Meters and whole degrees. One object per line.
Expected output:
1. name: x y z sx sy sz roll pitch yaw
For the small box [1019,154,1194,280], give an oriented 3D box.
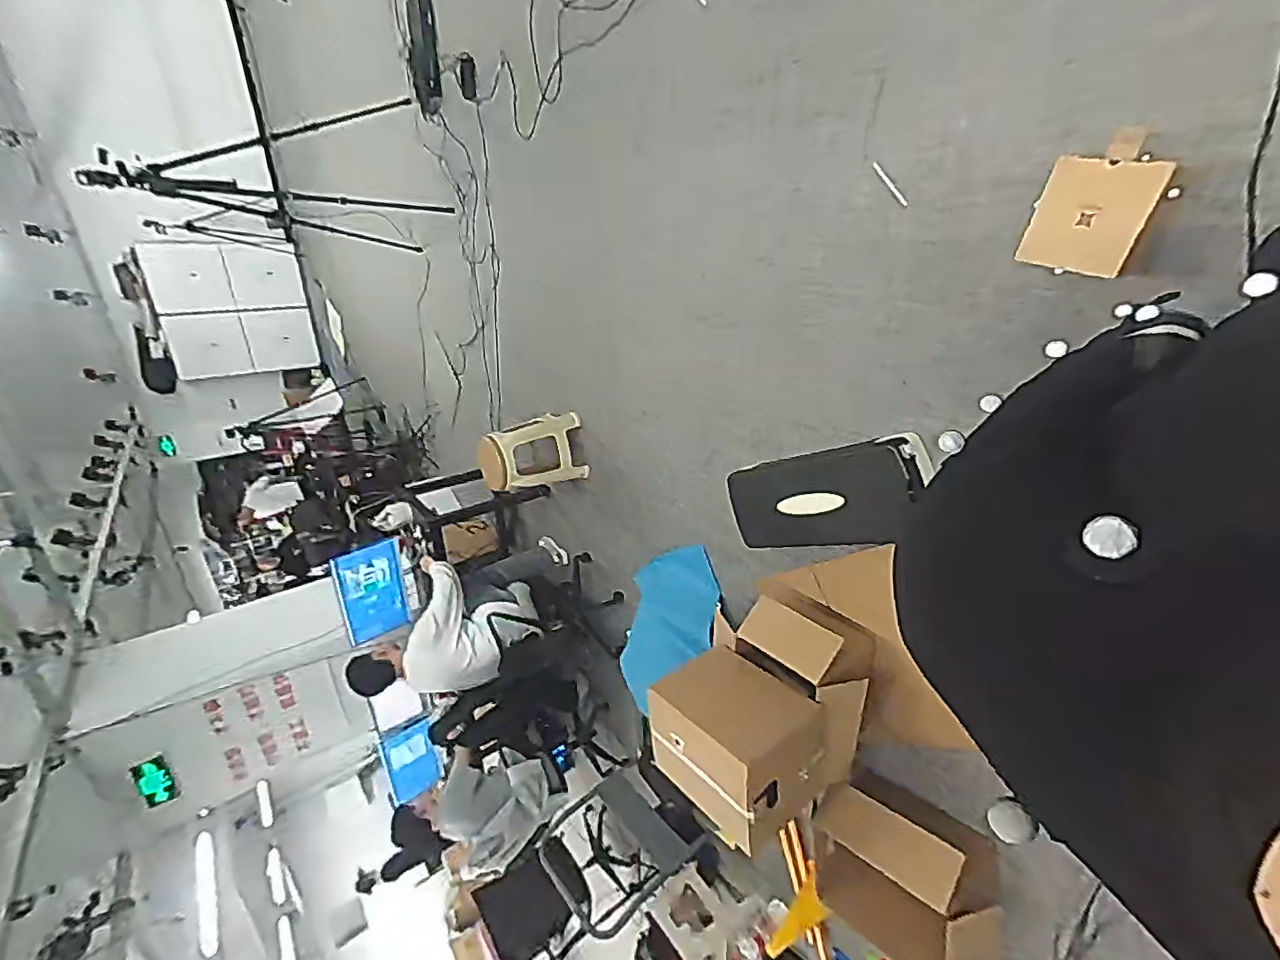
1. small box: 0.834 -0.469 0.968 0.168 0.176 0.179 37 131 40
